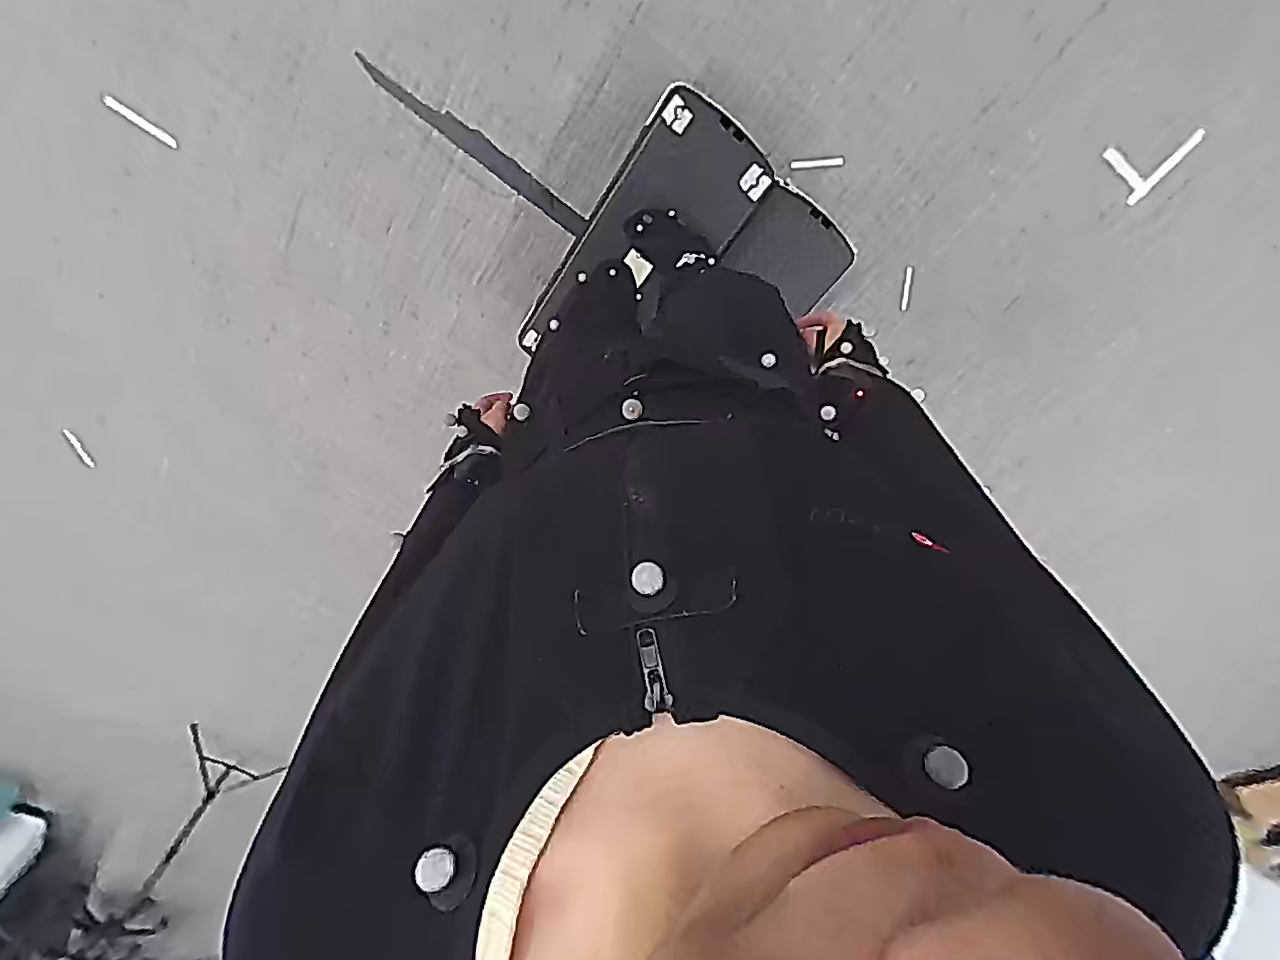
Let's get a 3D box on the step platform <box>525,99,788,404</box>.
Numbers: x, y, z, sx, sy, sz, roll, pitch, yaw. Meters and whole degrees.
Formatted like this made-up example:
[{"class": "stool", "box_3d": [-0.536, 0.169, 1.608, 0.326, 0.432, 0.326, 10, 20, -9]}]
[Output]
[{"class": "step platform", "box_3d": [0.018, -0.508, 1.291, 0.286, 0.204, 0.684, 36, 115, -19]}]
